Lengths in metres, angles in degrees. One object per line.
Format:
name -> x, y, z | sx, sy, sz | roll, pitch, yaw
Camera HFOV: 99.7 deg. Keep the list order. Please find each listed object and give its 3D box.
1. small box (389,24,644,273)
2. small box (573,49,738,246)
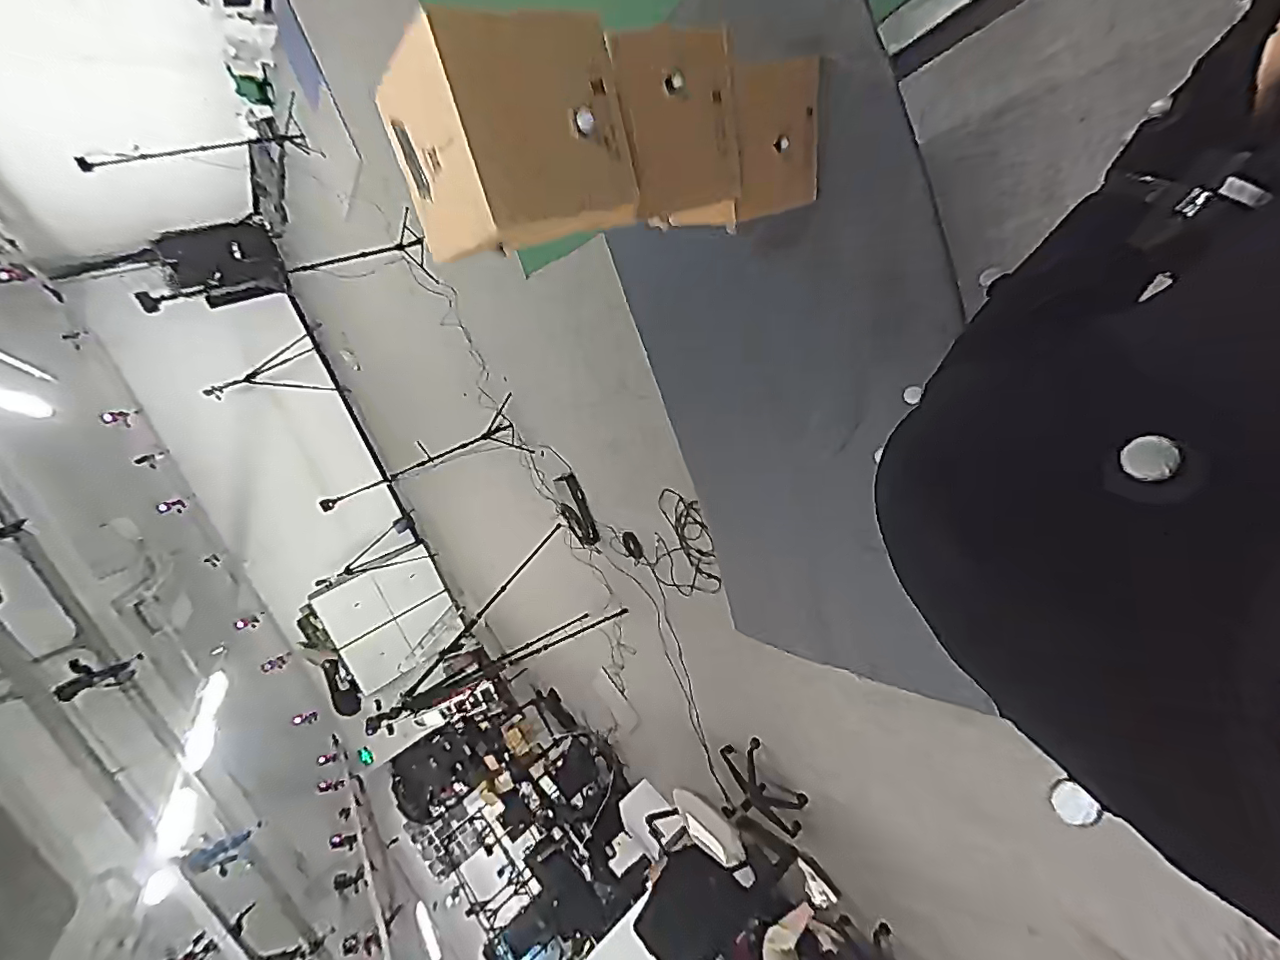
small box -> -0.123, -0.322, 0.550 | 0.179, 0.176, 0.168 | 14, 126, 52
small box -> 0.001, -0.384, 0.638 | 0.179, 0.176, 0.168 | 23, 132, 49
